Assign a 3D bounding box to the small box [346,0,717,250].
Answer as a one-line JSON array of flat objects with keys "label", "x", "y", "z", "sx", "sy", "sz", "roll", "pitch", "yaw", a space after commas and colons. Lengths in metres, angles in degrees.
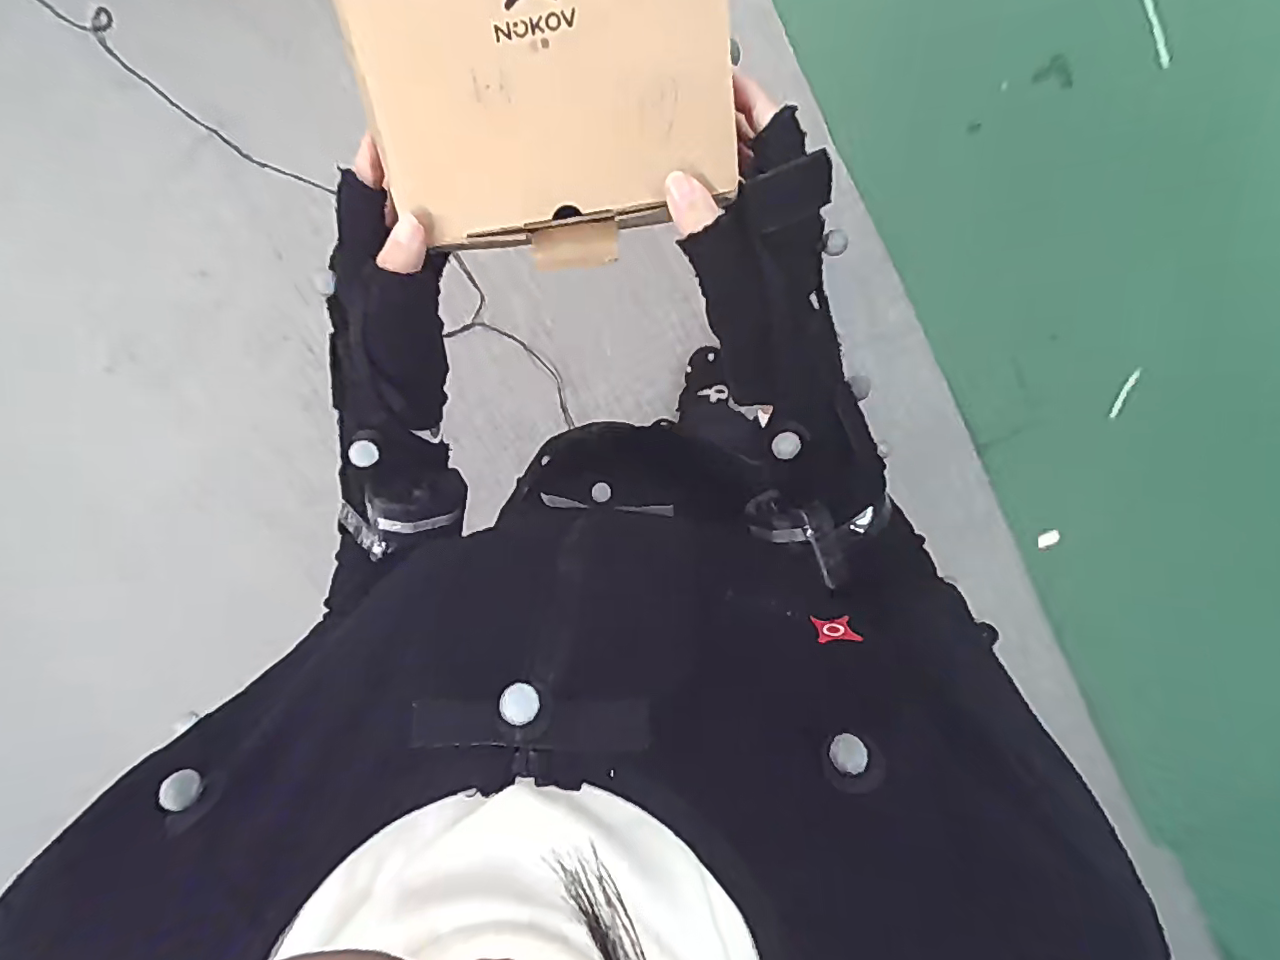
[{"label": "small box", "x": -0.047, "y": -0.248, "z": 0.324, "sx": 0.168, "sy": 0.176, "sz": 0.179, "roll": -9, "pitch": 113, "yaw": 8}]
